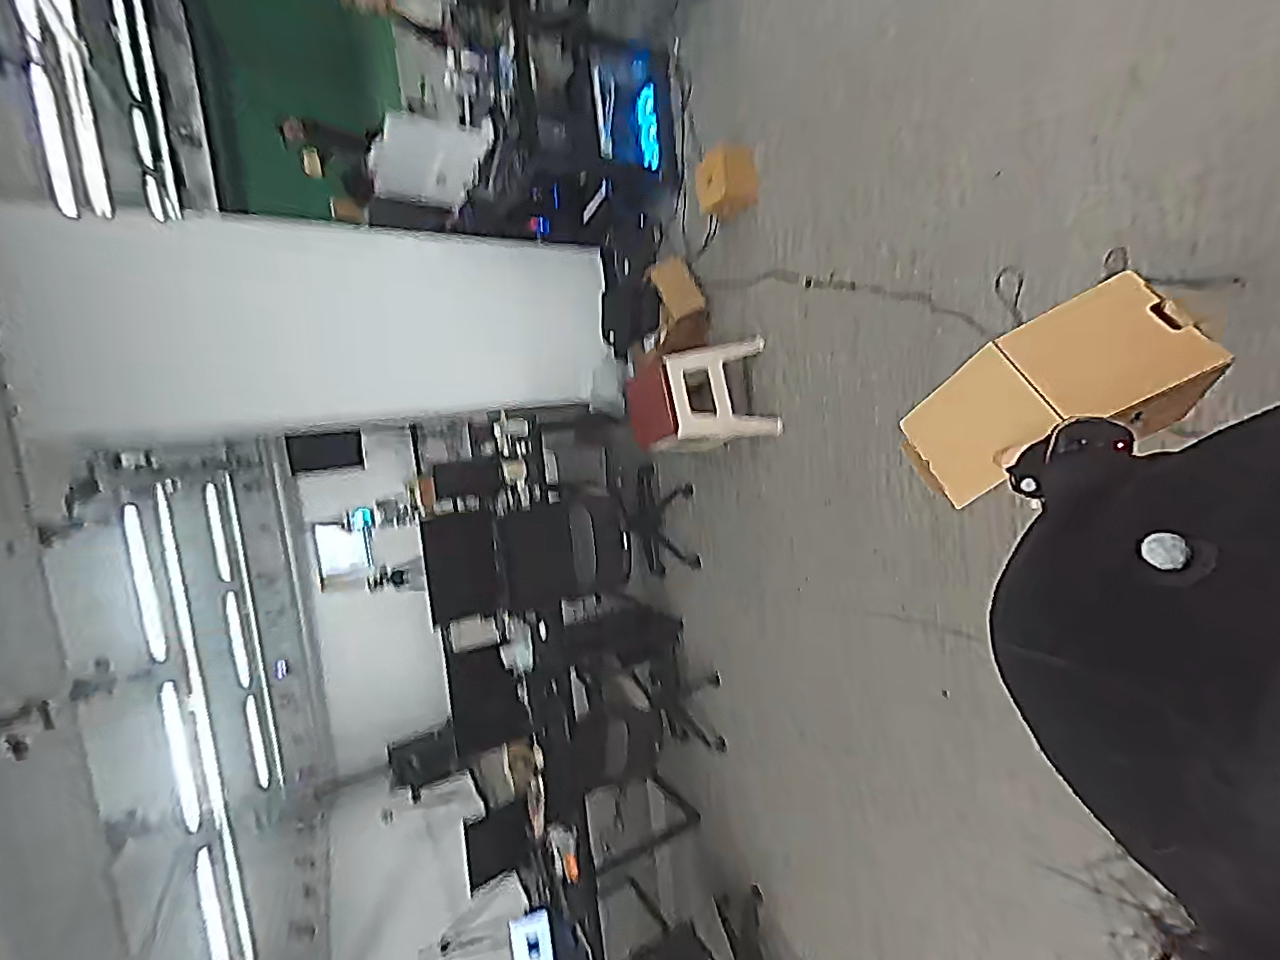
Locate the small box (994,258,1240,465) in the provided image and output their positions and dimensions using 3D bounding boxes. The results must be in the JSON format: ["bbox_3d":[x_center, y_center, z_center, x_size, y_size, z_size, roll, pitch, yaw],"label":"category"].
[{"bbox_3d":[0.604,-0.144,0.721,0.179,0.176,0.168,-28,61,17],"label":"small box"}]
